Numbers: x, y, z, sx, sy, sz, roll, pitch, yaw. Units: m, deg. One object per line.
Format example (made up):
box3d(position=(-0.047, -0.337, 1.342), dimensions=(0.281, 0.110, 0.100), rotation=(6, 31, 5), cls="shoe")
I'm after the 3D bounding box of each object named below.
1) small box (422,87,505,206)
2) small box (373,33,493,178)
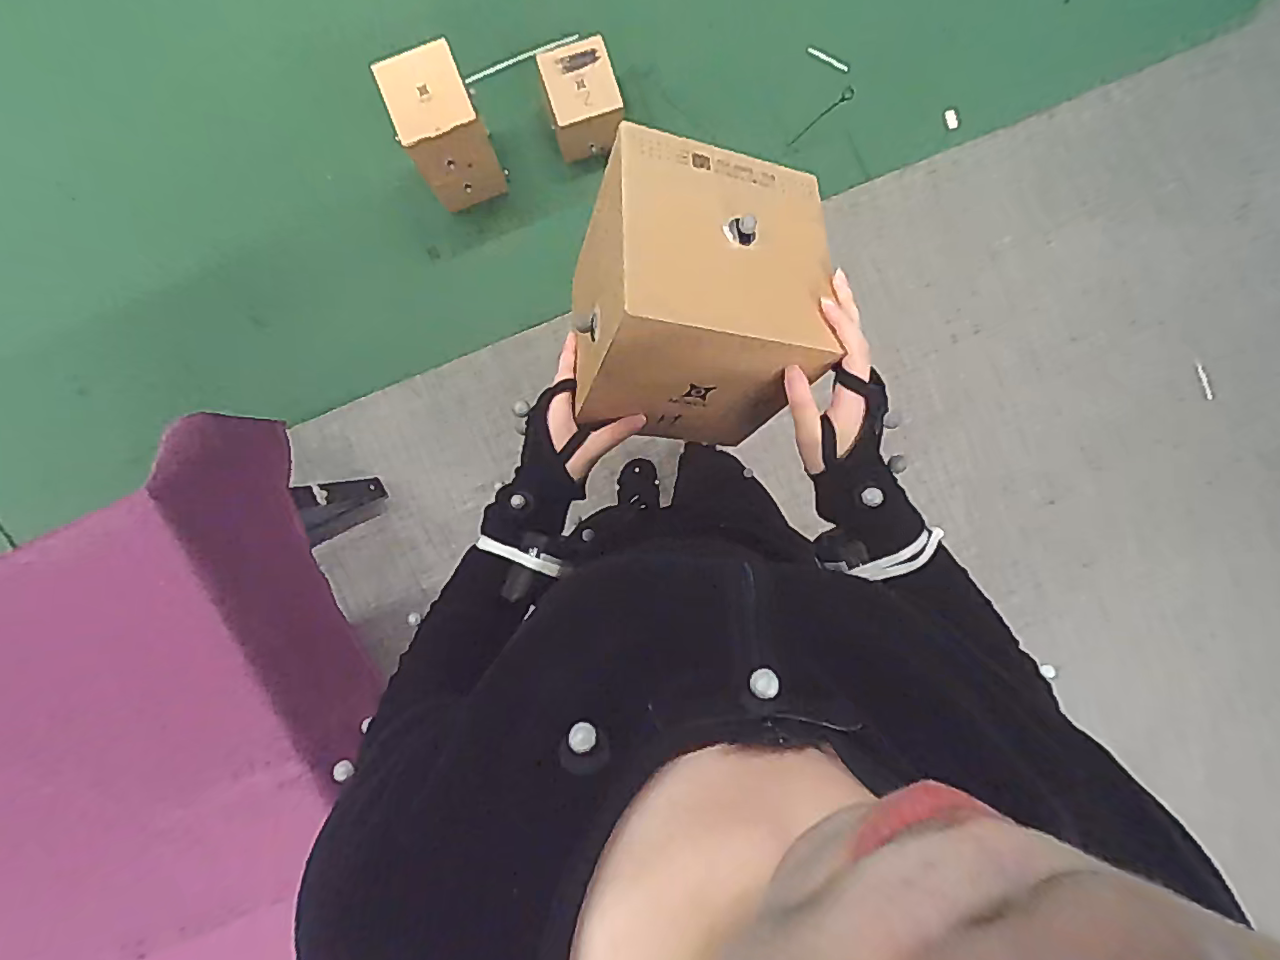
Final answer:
box3d(position=(-0.453, -0.824, 1.352), dimensions=(0.179, 0.176, 0.168), rotation=(-22, 93, 1), cls="small box")
box3d(position=(-0.446, -0.813, 1.190), dimensions=(0.168, 0.176, 0.179), rotation=(-21, 94, 0), cls="small box")
